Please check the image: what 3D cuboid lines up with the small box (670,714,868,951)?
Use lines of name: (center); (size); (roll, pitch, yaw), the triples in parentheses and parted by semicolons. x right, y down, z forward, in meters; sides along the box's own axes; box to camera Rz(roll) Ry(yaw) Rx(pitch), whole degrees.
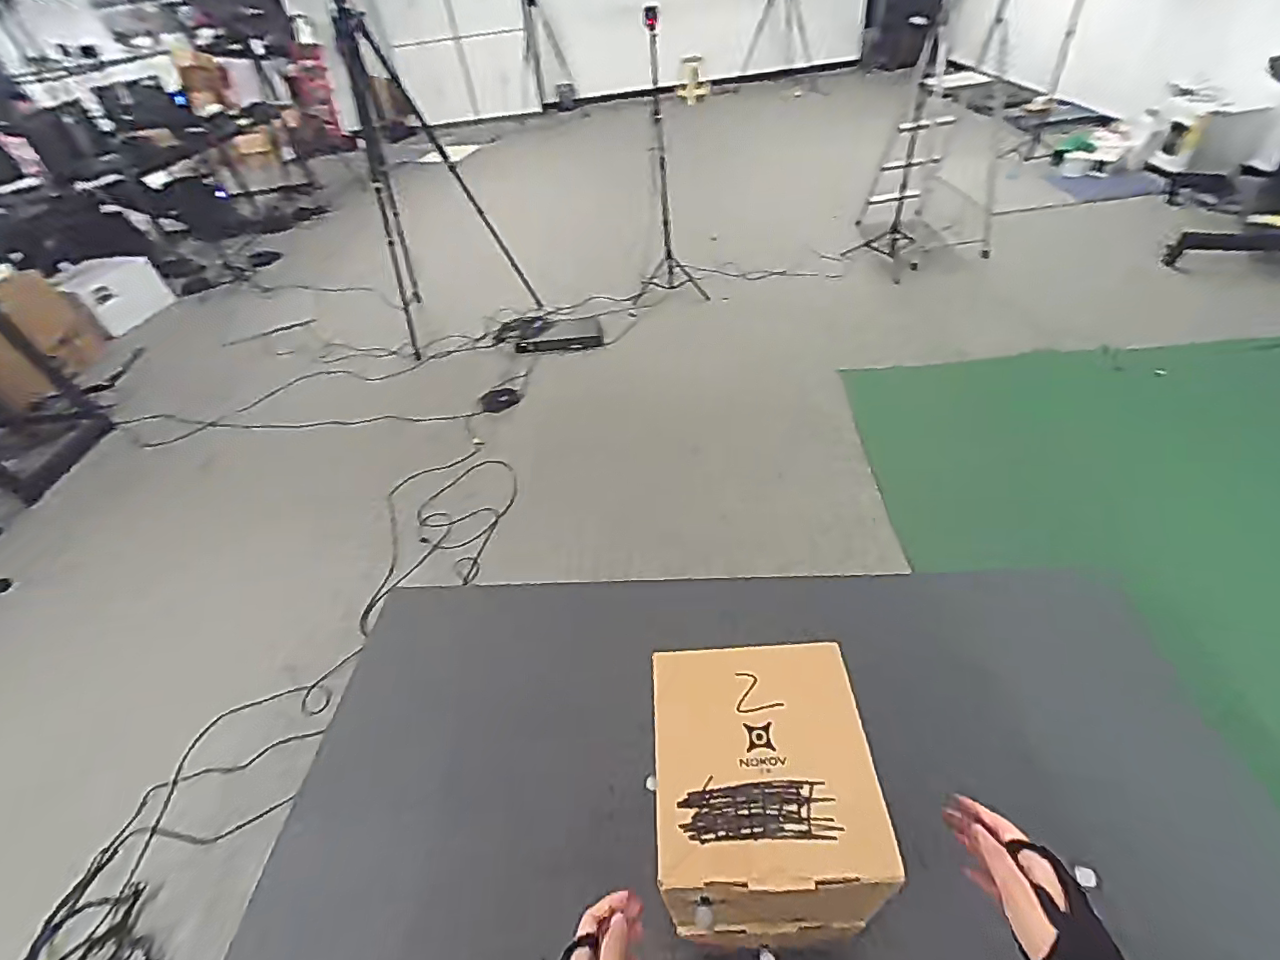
small box: (0.121, 0.376, 0.579); (0.168, 0.176, 0.179); (-6, 43, 4)
